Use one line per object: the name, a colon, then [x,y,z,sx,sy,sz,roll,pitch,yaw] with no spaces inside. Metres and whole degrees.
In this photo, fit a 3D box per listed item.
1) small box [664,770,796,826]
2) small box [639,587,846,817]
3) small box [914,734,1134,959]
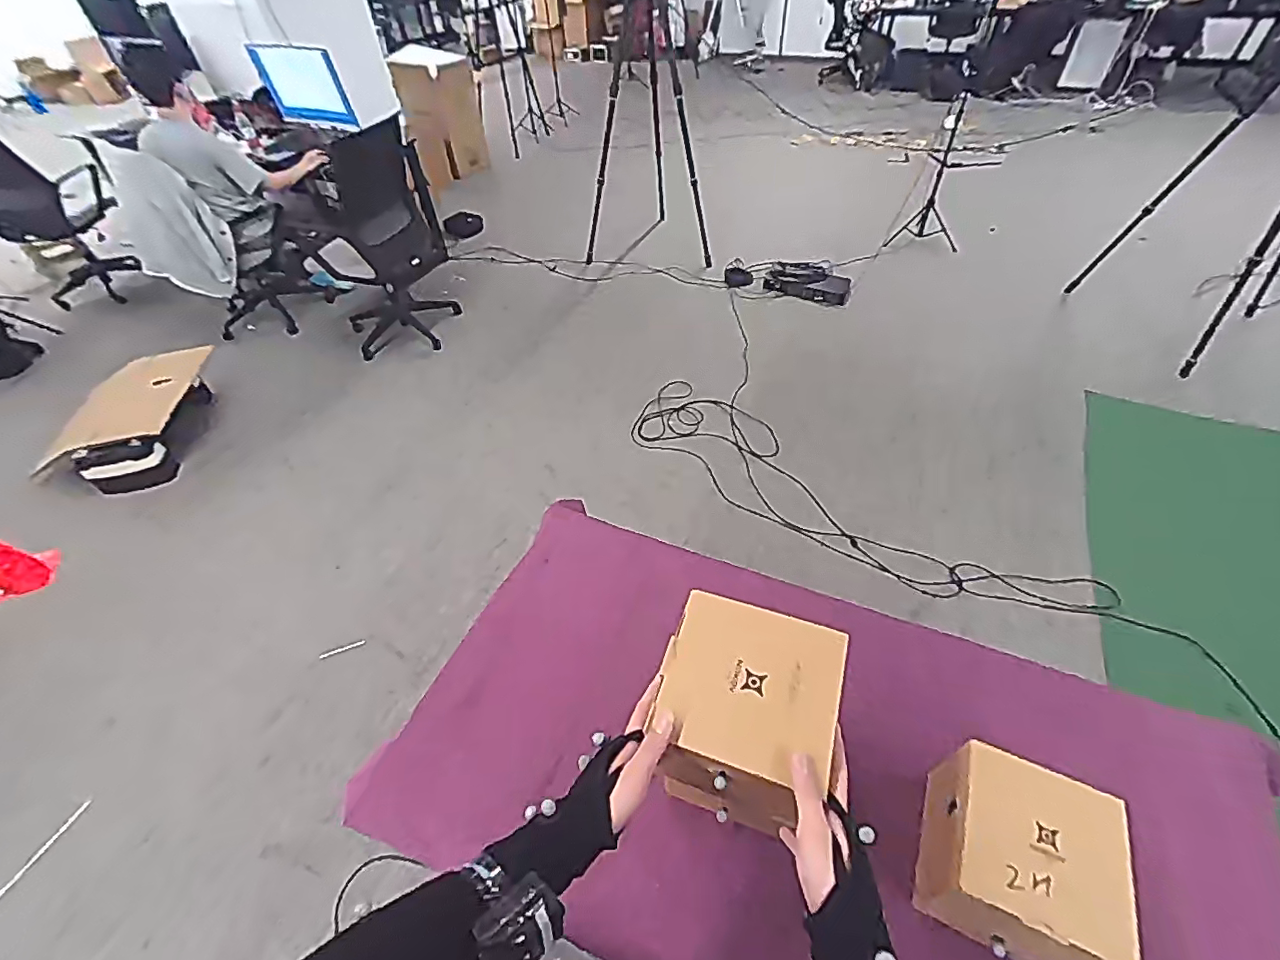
small box: [0.141,0.369,0.776,0.179,0.176,0.168,14,49,16]
small box: [0.114,0.251,0.606,0.179,0.176,0.168,14,53,17]
small box: [0.458,0.459,0.670,0.168,0.176,0.179,18,51,20]
